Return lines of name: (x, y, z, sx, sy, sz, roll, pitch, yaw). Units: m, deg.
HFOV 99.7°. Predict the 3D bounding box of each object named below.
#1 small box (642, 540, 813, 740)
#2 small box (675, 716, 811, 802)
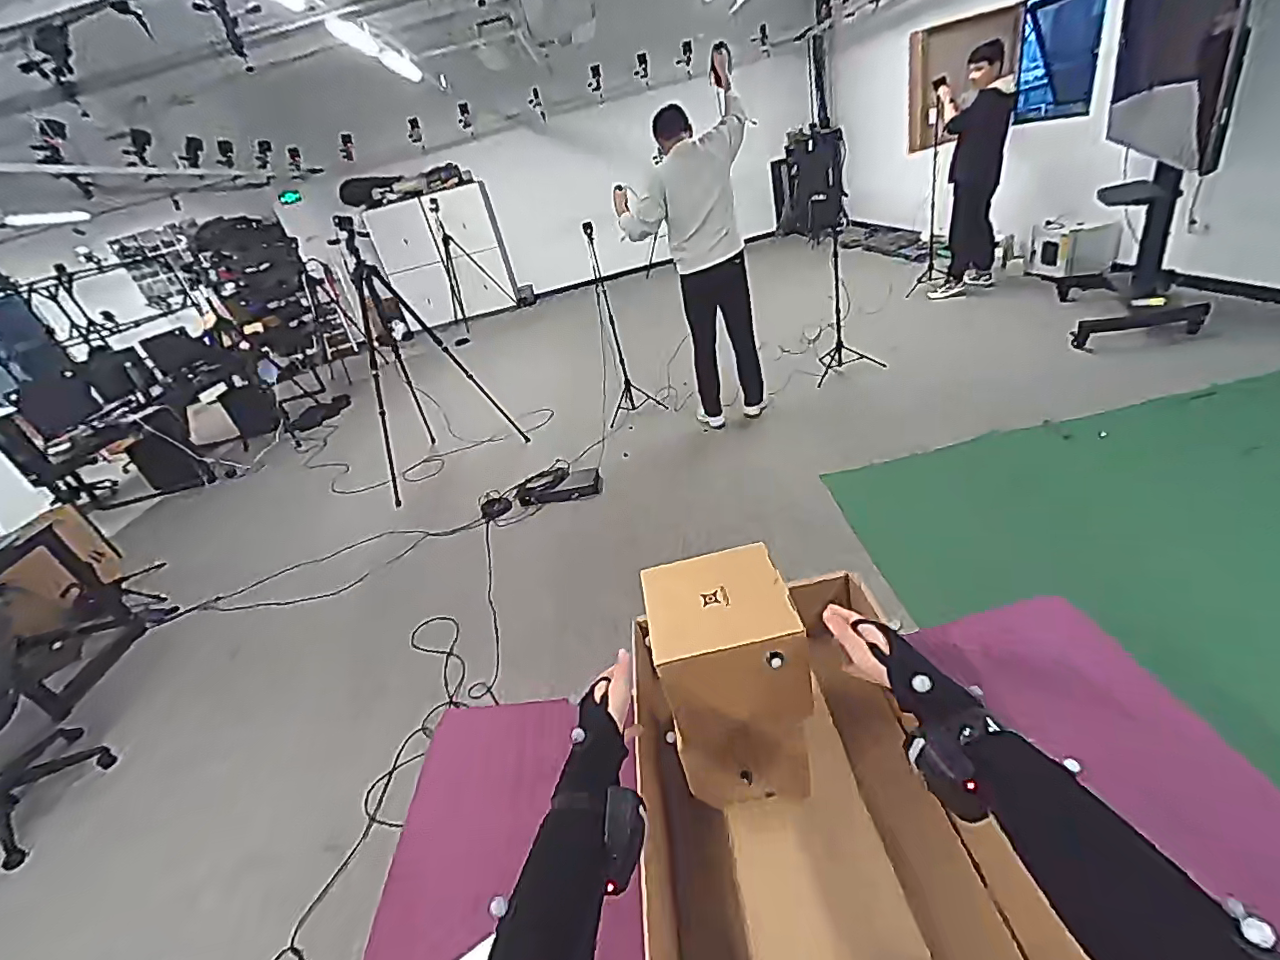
small box: (0.111, 0.210, 0.708, 0.179, 0.176, 0.168, -14, 31, 2)
small box: (0.143, 0.344, 0.793, 0.168, 0.176, 0.179, -13, 31, 5)
